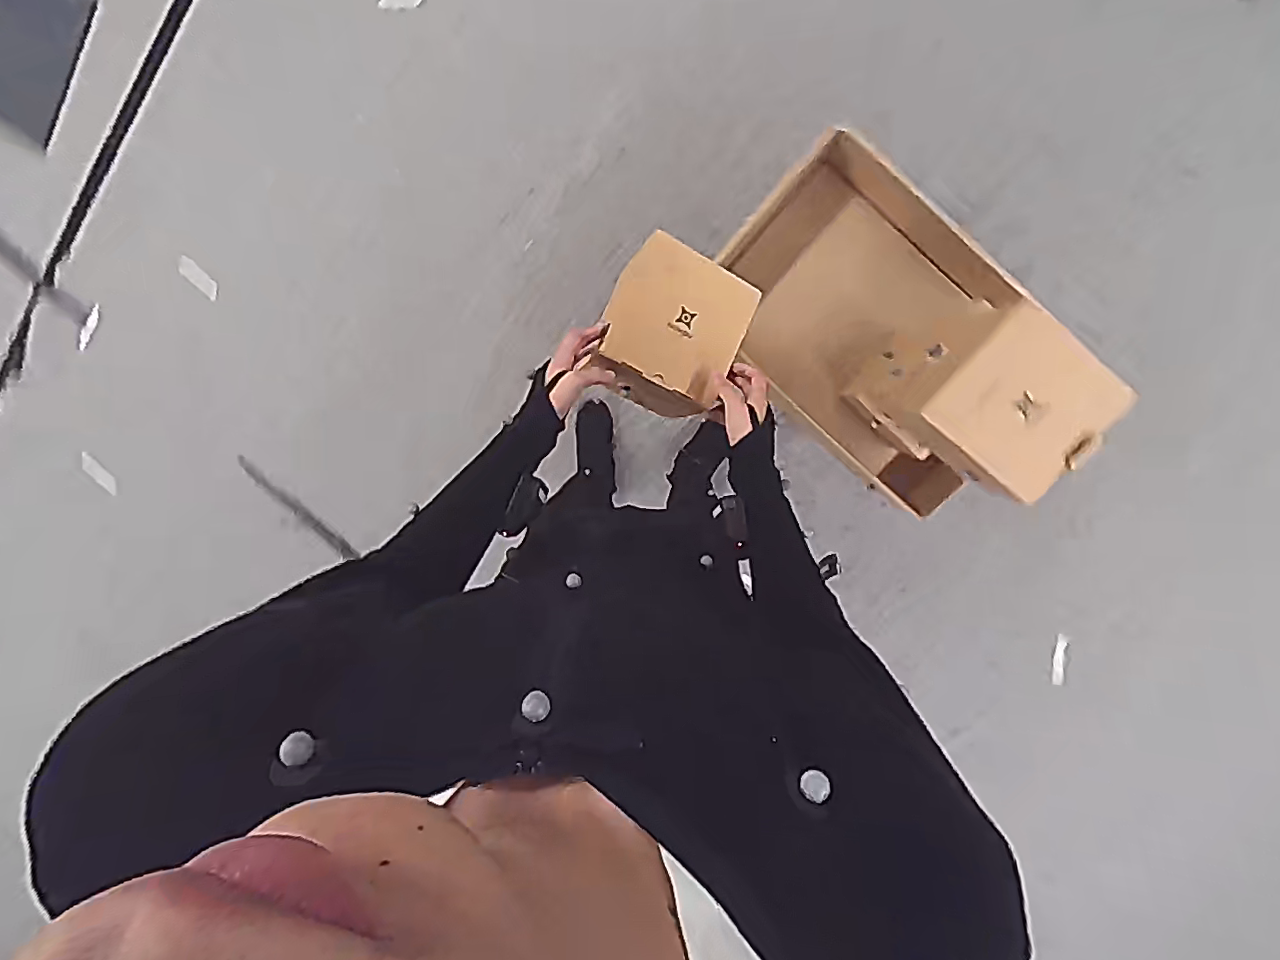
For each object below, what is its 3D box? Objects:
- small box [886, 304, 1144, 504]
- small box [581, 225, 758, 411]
[{"bbox_3d":[0.458,-0.100,0.695,0.179,0.176,0.168,40,103,-1],"label":"small box"},{"bbox_3d":[0.030,-0.210,0.758,0.168,0.176,0.179,24,86,-16],"label":"small box"}]
